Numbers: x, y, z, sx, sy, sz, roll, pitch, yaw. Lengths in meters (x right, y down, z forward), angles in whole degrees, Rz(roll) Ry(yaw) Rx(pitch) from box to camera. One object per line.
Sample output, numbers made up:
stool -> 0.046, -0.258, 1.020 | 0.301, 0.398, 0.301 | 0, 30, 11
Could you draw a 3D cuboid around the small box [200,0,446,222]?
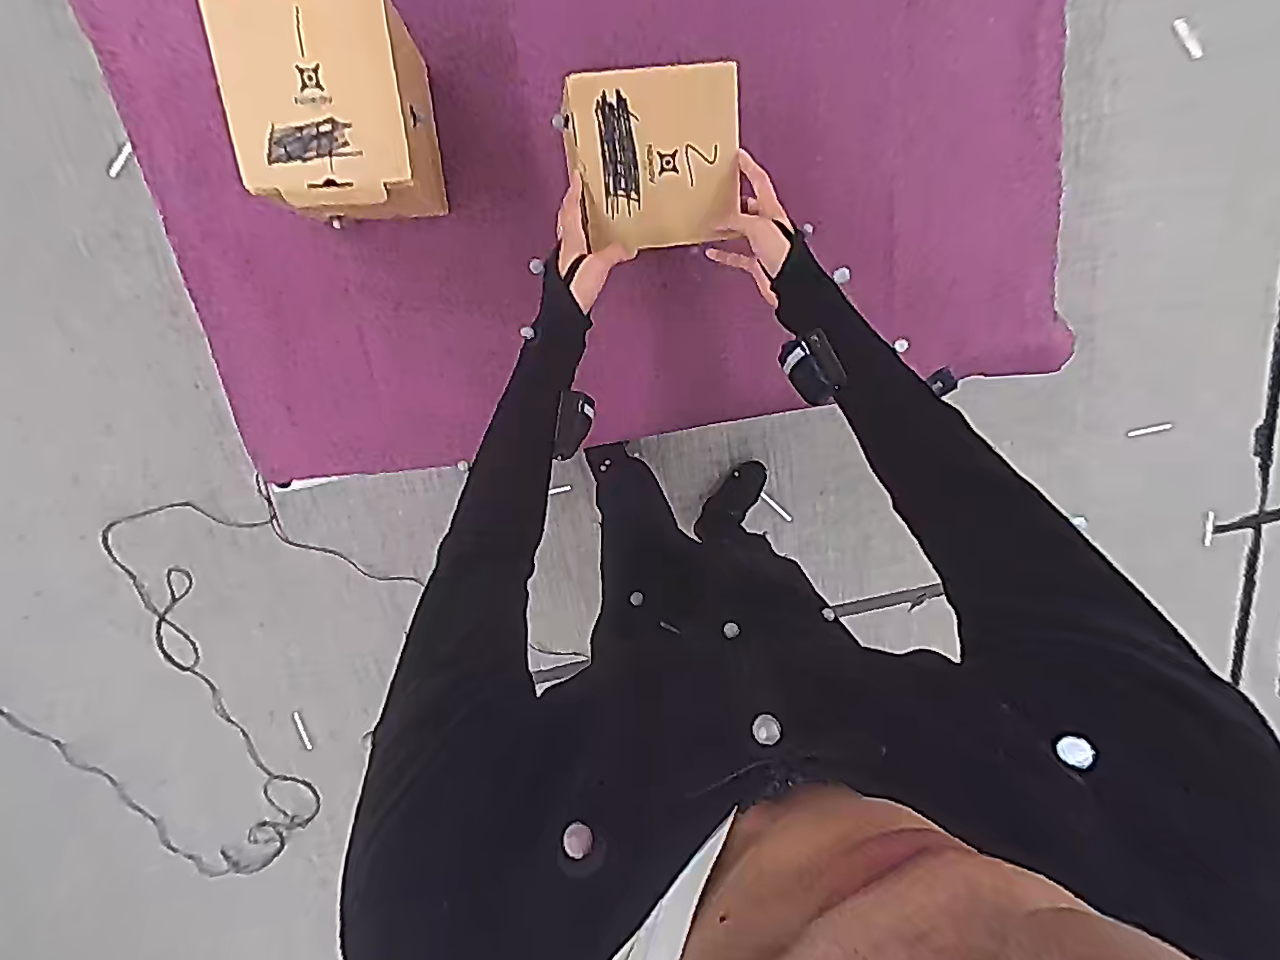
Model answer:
small box -> -0.325, -0.393, 0.599 | 0.168, 0.176, 0.179 | -6, 106, -6
